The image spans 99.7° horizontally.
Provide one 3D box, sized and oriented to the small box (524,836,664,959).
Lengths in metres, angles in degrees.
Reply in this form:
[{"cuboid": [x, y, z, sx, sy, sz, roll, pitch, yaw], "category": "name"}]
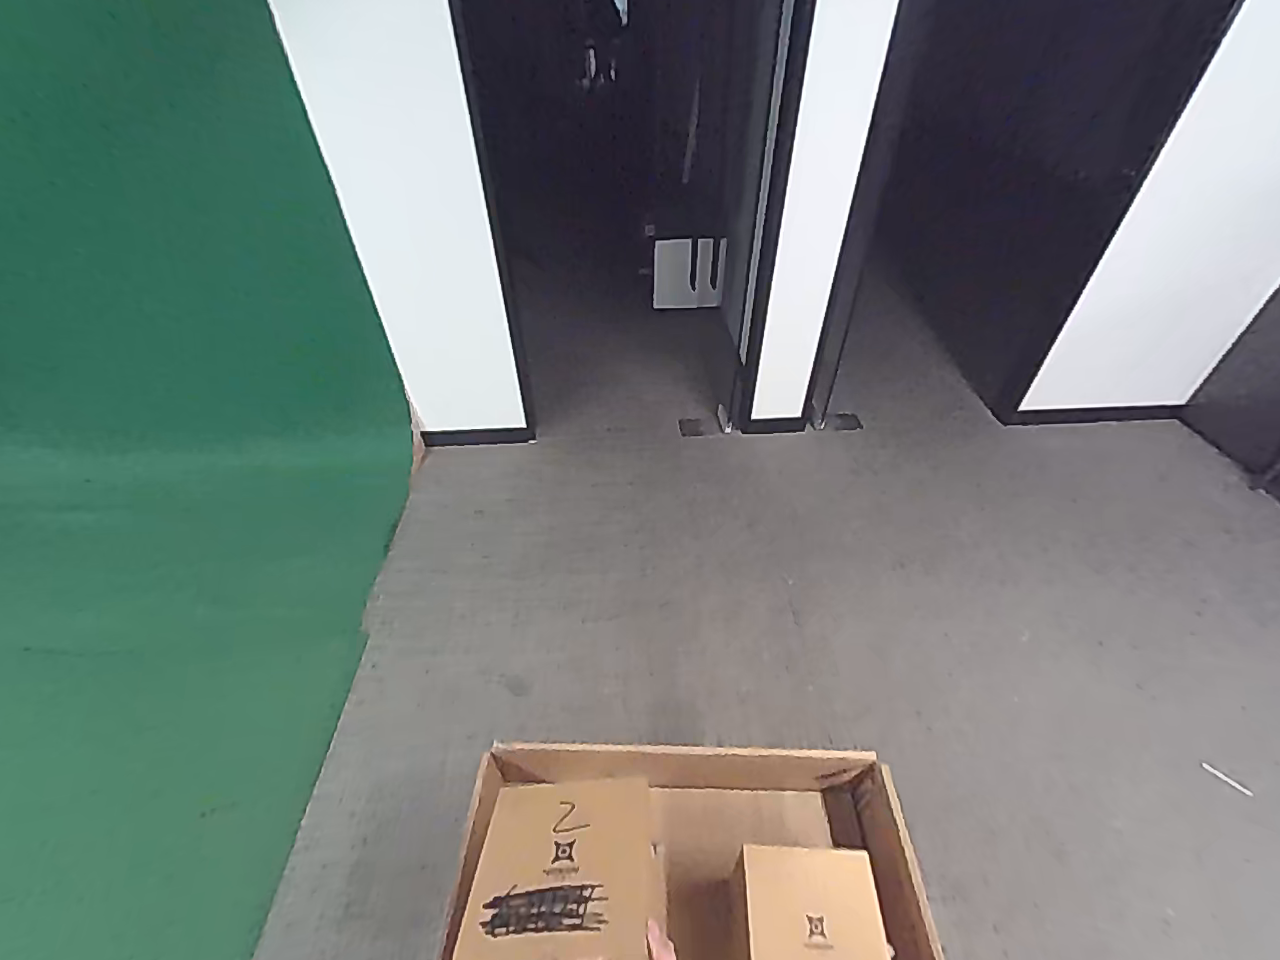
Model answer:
[{"cuboid": [-0.053, 0.593, 0.711, 0.168, 0.176, 0.179, 0, 44, 1], "category": "small box"}]
